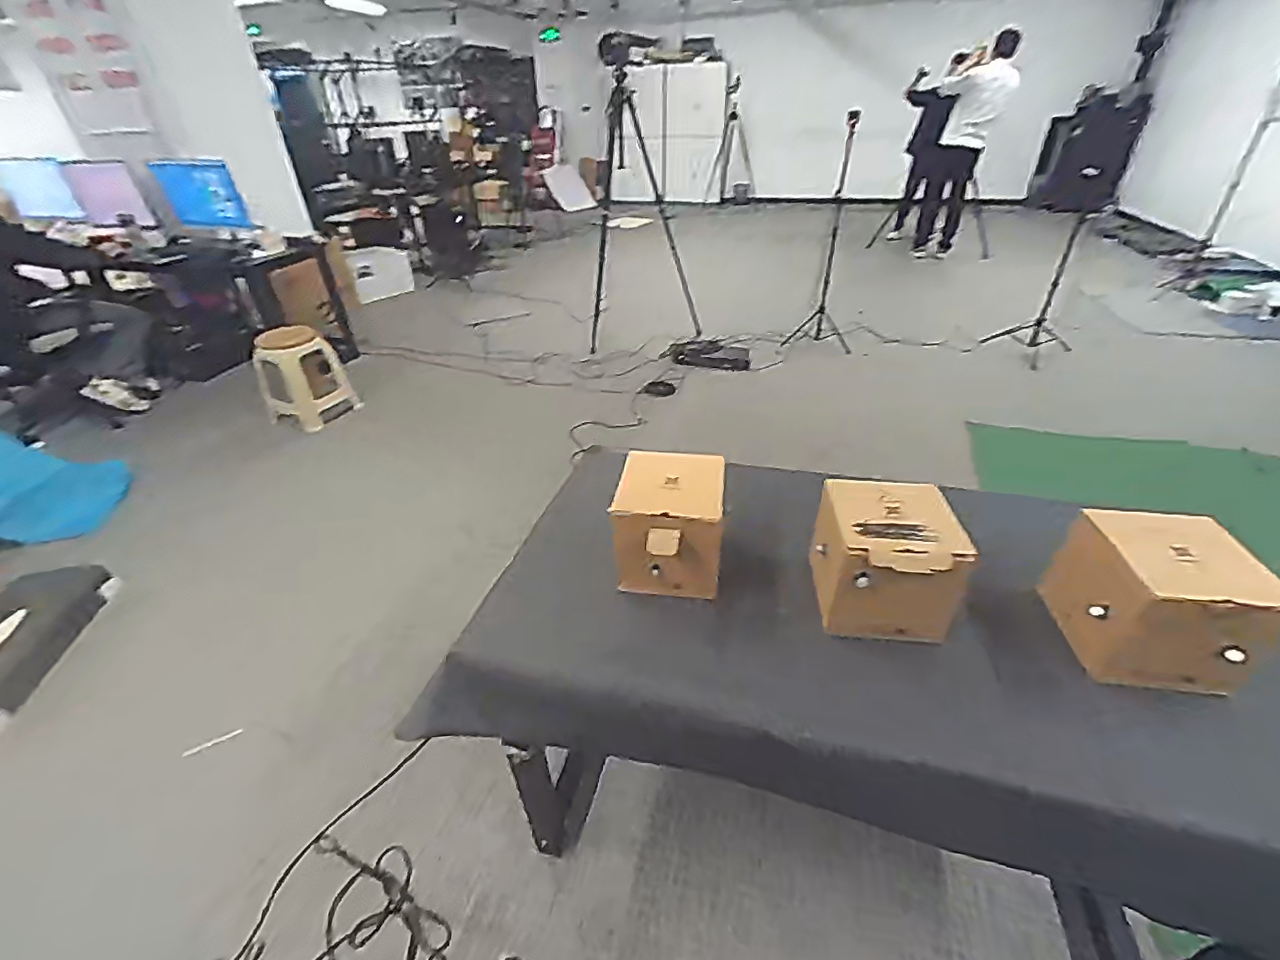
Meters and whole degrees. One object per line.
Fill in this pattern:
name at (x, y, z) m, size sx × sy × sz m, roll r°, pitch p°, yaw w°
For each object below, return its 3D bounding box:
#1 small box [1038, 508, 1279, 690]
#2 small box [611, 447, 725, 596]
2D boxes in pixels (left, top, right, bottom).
small box at (0.696, 0.160, 0.739) m, size 0.168 × 0.176 × 0.179 m, roll 5°, pitch 34°, yaw 7°
small box at (0.049, 0.066, 0.901) m, size 0.168 × 0.176 × 0.179 m, roll 4°, pitch 35°, yaw 7°
